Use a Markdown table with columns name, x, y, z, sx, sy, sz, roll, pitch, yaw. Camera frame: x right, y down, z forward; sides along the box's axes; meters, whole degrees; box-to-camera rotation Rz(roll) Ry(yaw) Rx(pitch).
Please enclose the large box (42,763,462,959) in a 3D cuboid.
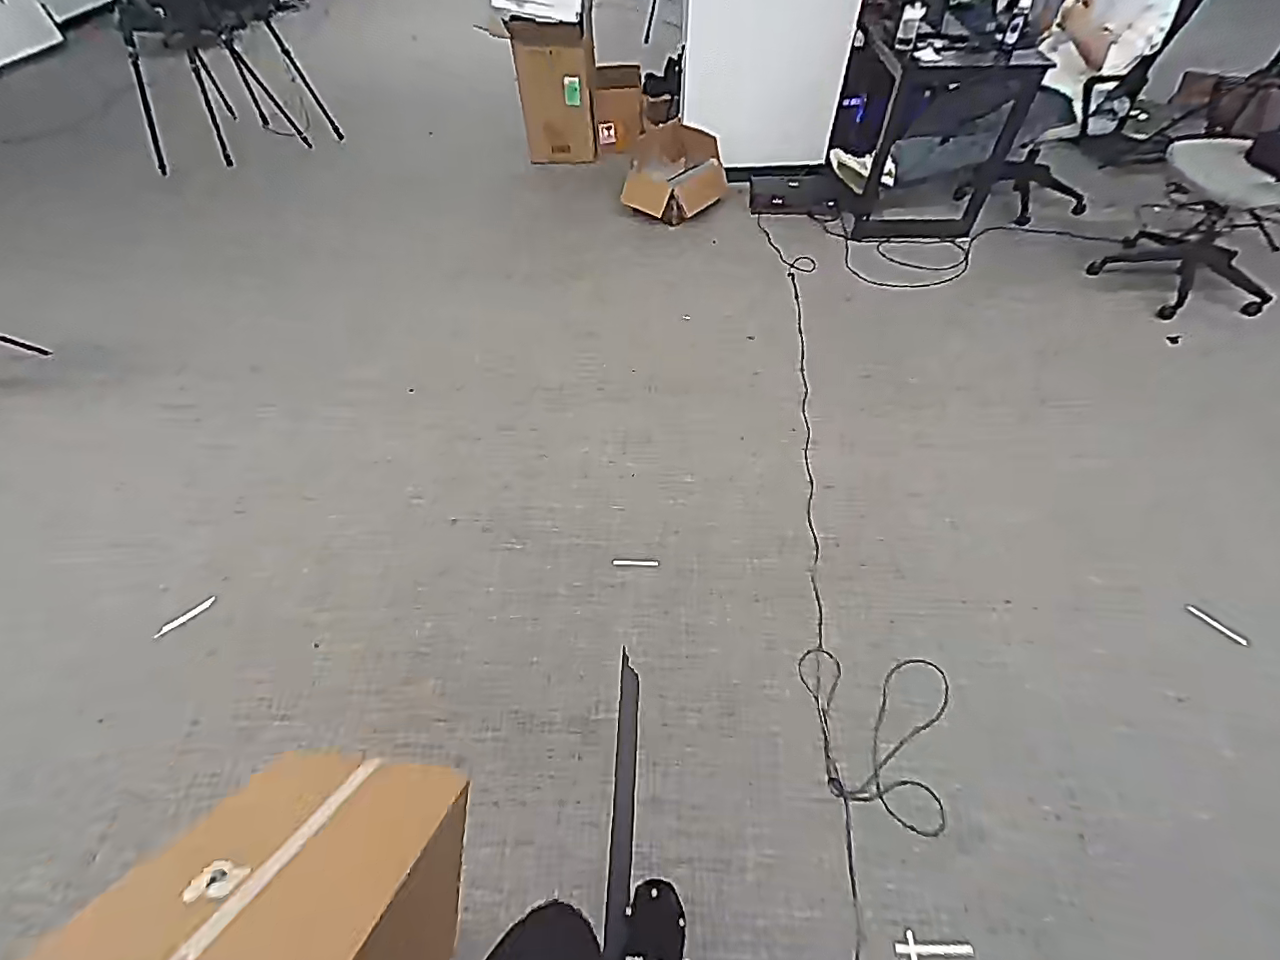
| name | x | y | z | sx | sy | sz | roll | pitch | yaw |
| --- | --- | --- | --- | --- | --- | --- | --- | --- | --- |
| large box | -0.465 | 0.645 | 0.706 | 0.320 | 0.408 | 0.320 | 5 | 92 | 3 |
